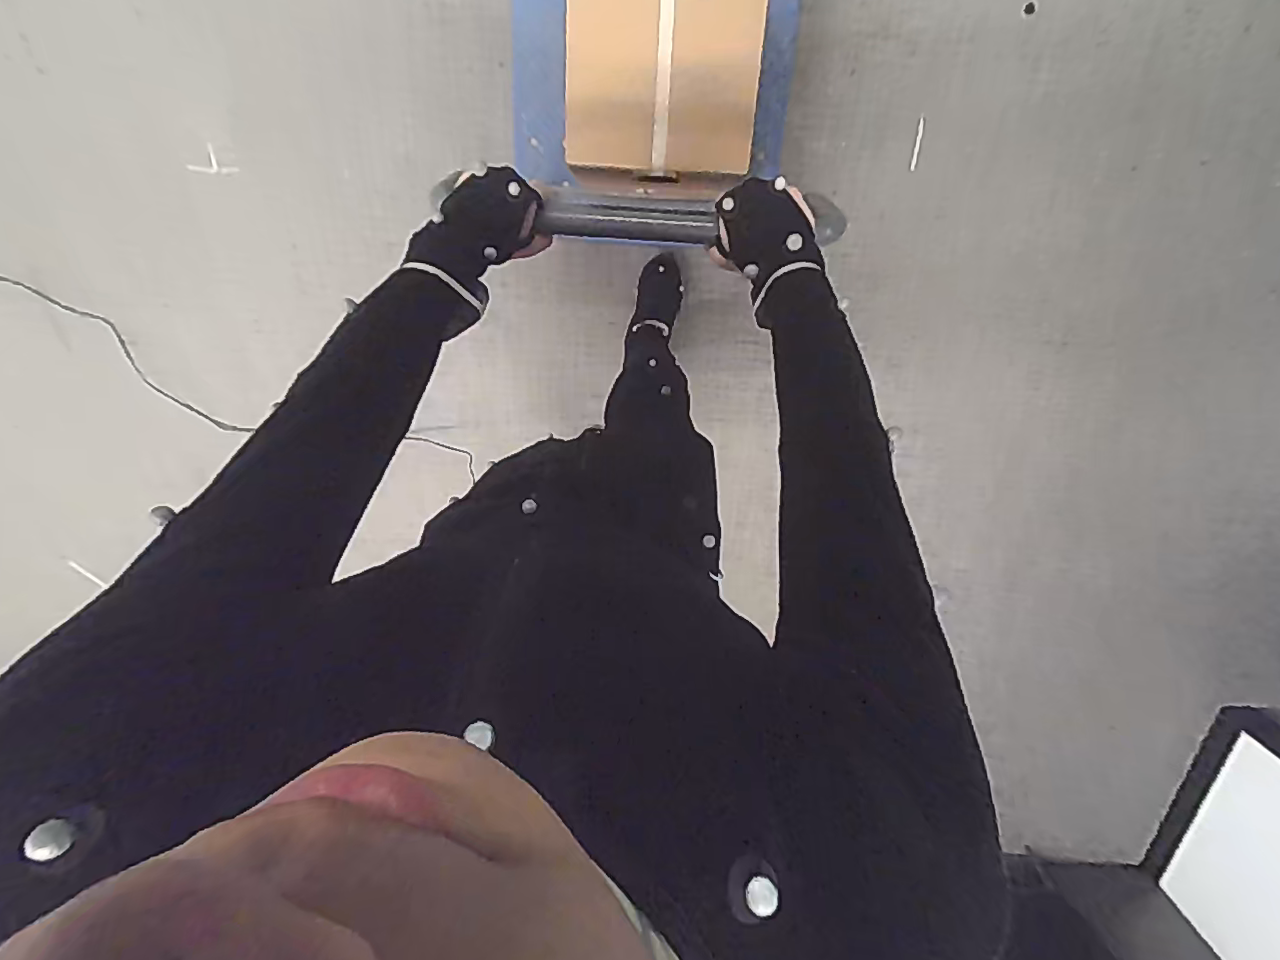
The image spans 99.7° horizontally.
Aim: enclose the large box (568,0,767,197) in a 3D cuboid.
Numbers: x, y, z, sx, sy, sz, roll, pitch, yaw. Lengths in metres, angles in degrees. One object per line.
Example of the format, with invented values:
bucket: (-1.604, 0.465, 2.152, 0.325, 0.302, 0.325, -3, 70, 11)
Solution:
large box: (0.047, -0.766, 0.992, 0.320, 0.320, 0.408, 3, 110, 0)
